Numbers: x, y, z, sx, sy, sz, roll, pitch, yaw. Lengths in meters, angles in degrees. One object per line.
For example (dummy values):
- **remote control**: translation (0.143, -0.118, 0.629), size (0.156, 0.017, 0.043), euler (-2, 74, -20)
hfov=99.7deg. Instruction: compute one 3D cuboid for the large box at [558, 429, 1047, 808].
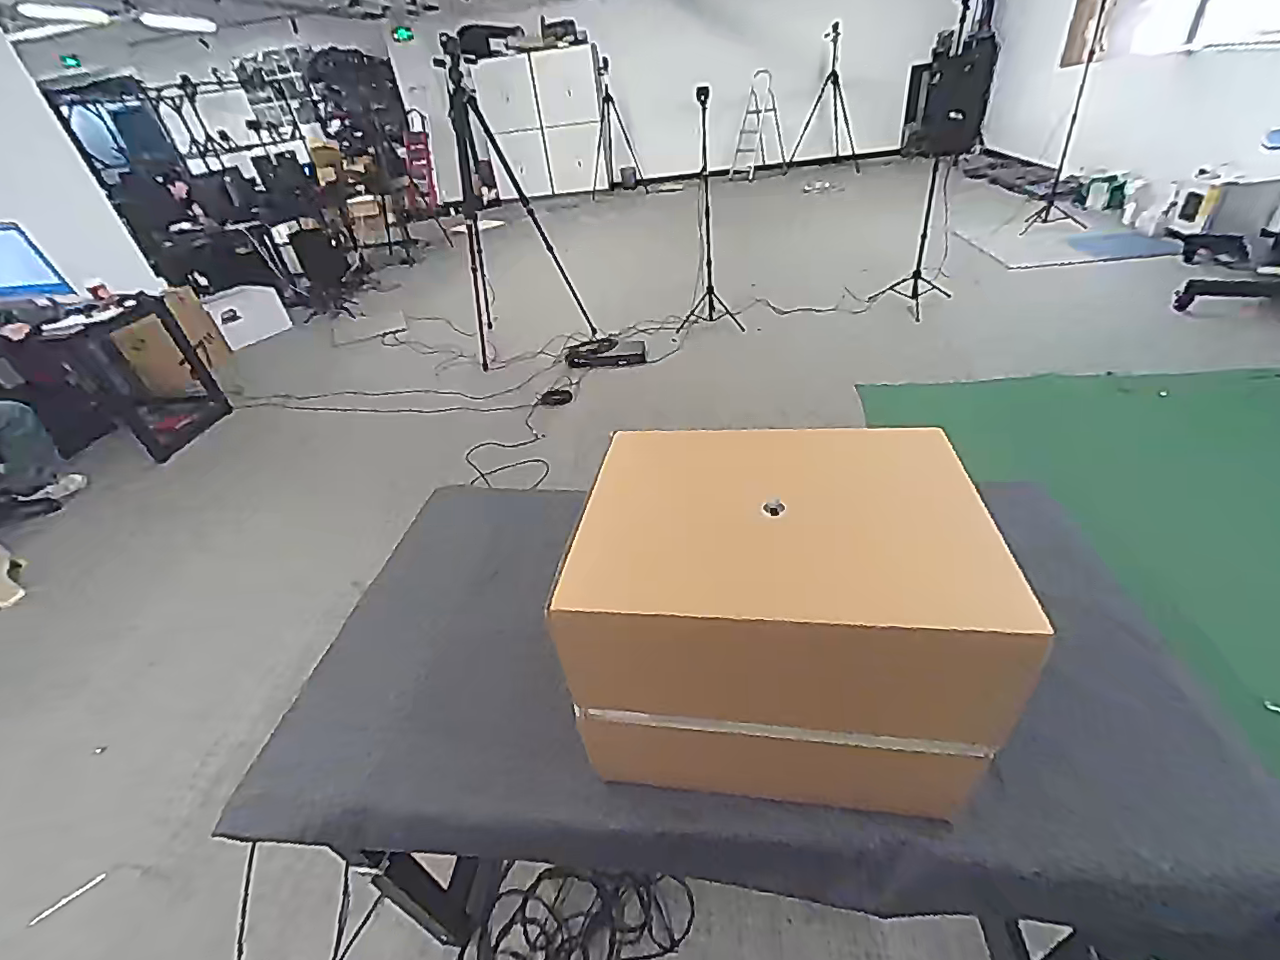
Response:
- **large box**: translation (0.155, 0.149, 0.648), size (0.408, 0.320, 0.320), euler (0, 36, 10)
